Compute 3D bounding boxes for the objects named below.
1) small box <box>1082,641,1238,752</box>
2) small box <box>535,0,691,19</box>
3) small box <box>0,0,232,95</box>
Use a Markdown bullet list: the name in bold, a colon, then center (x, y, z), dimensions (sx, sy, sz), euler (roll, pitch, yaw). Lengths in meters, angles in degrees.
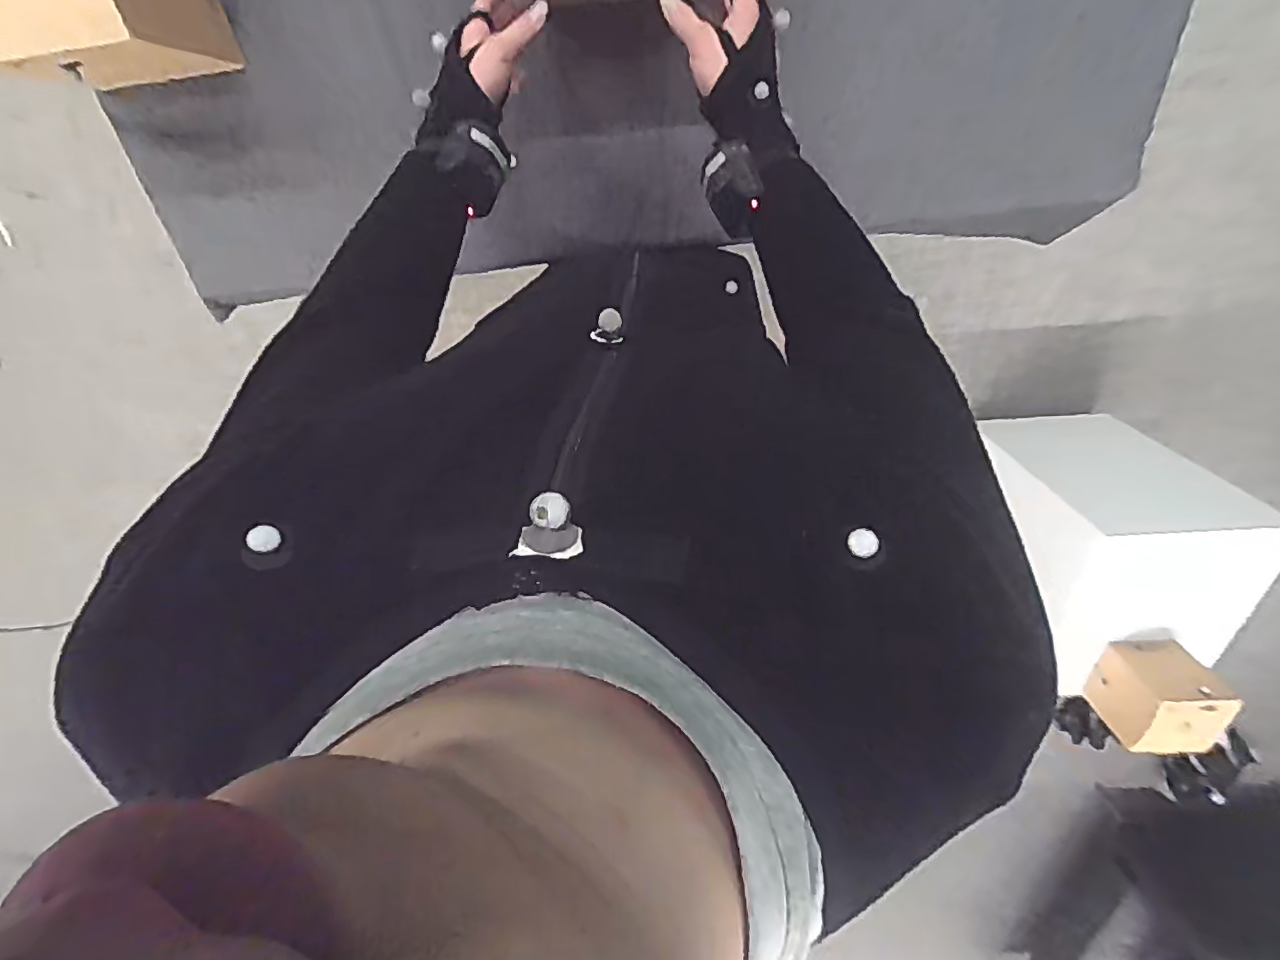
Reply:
- **small box**: center (1.178, 0.495, 1.246), dimensions (0.168, 0.176, 0.179), euler (-3, 120, -1)
- **small box**: center (-0.021, -0.524, 0.459), dimensions (0.179, 0.176, 0.168), euler (-5, 118, 2)
- **small box**: center (-0.521, -0.454, 0.472), dimensions (0.179, 0.176, 0.168), euler (-8, 120, 0)
